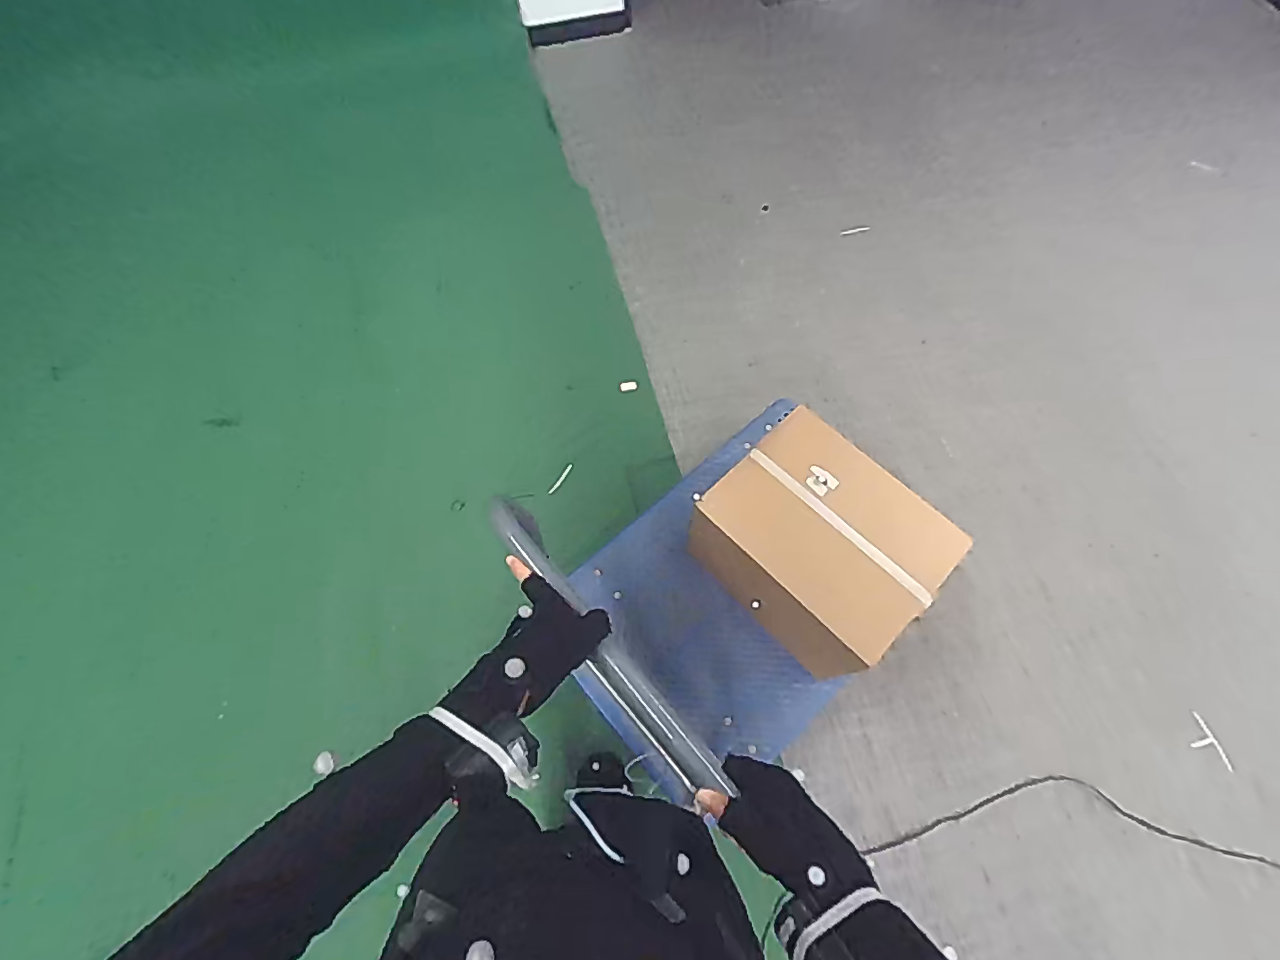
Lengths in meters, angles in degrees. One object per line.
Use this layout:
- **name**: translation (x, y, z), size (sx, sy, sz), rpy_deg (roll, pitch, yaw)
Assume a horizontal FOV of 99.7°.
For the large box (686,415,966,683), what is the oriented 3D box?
- **large box**: translation (0.345, 0.152, 1.119), size (0.320, 0.320, 0.408), rpy_deg (-41, 70, -16)
